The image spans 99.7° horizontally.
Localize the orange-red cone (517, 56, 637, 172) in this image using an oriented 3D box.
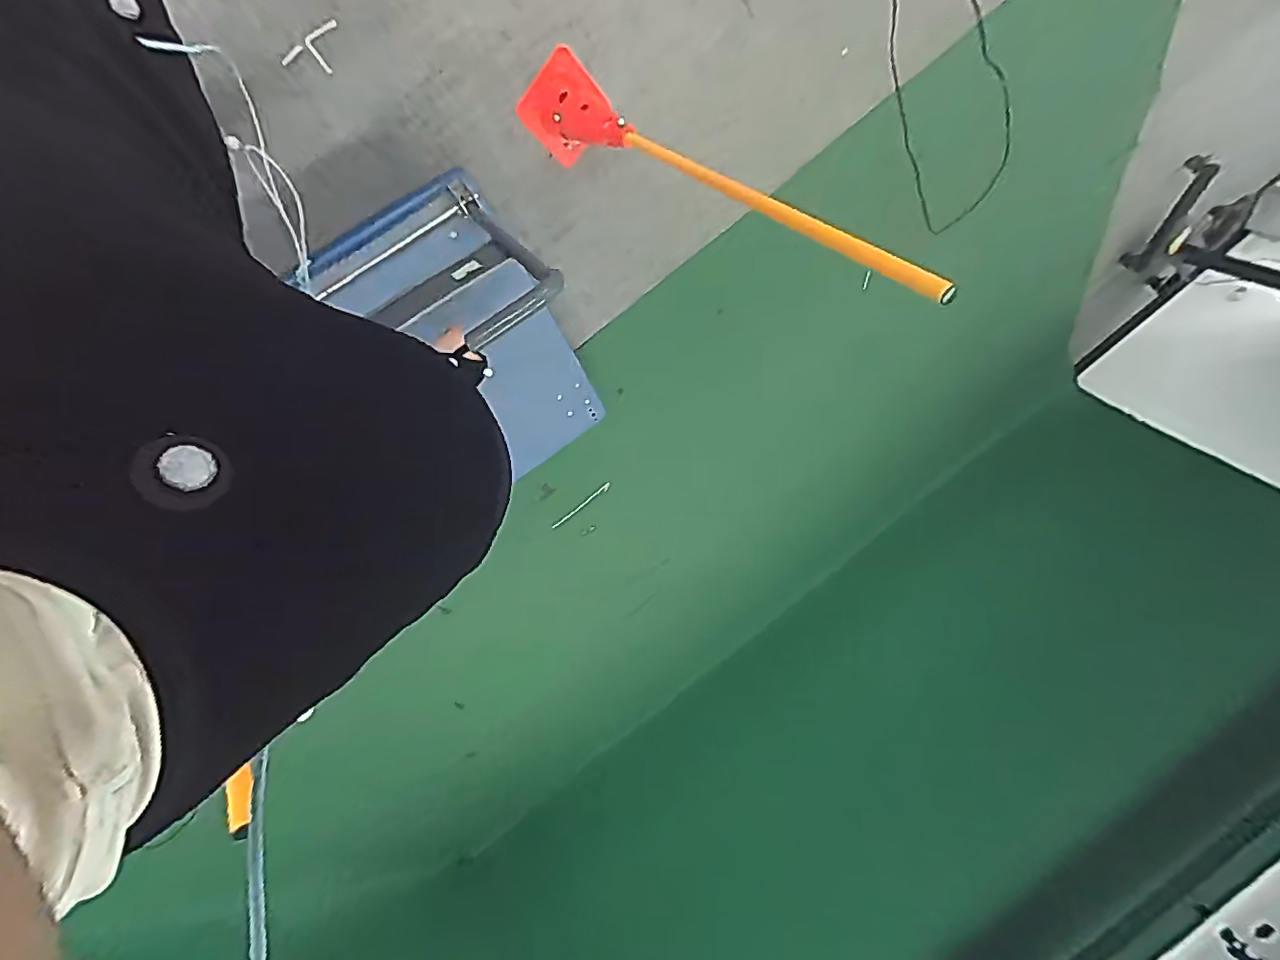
[{"bbox_3d":[-0.111,-0.838,1.290,0.199,0.360,0.198,-50,140,10],"label":"orange-red cone"}]
